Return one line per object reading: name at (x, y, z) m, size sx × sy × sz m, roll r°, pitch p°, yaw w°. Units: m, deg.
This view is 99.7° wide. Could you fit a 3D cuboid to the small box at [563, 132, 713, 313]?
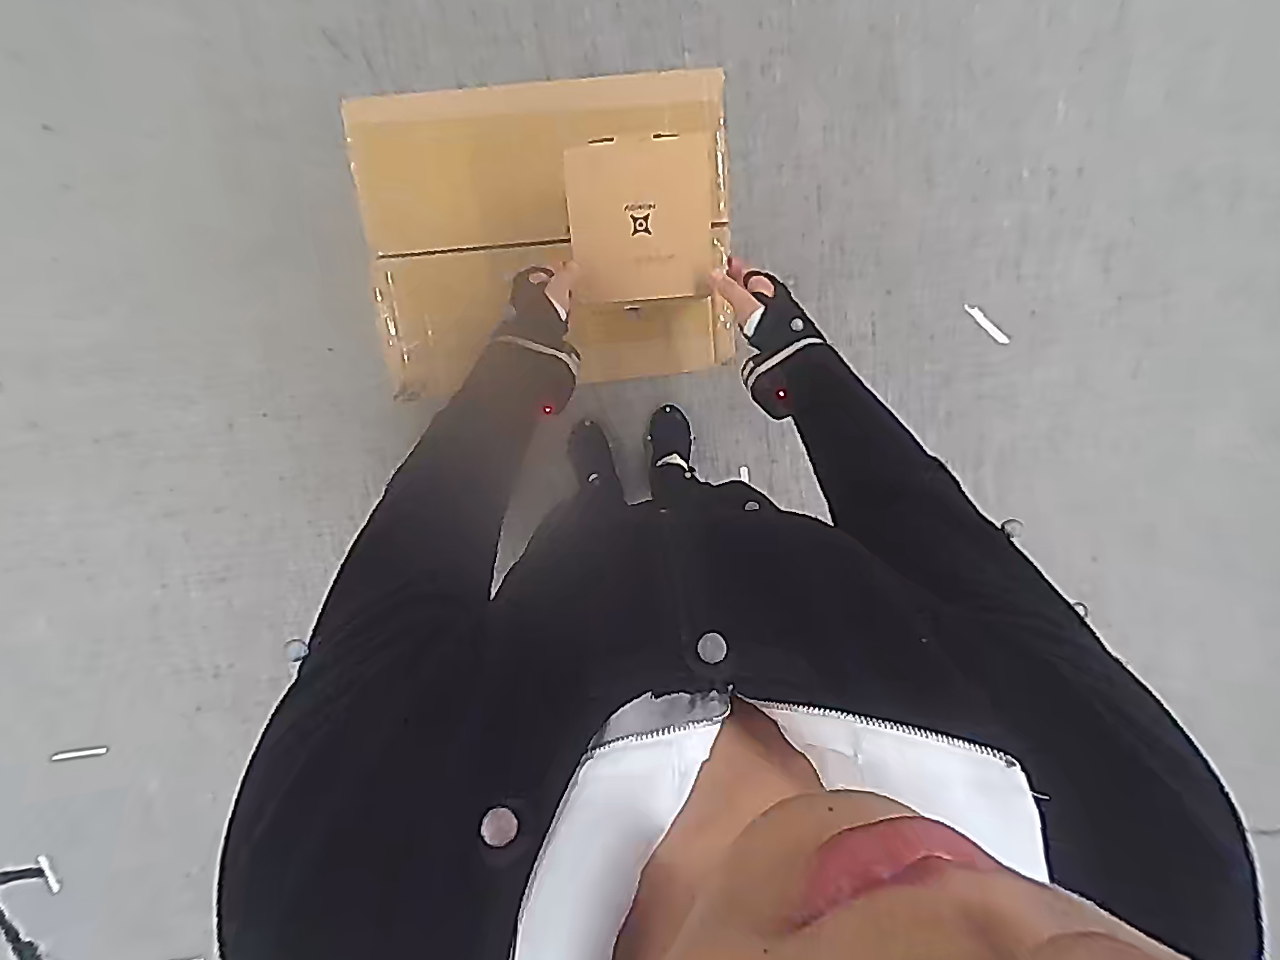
small box at (-0.003, -0.320, 0.704) m, size 0.168 × 0.176 × 0.179 m, roll -6°, pitch 105°, yaw 0°
